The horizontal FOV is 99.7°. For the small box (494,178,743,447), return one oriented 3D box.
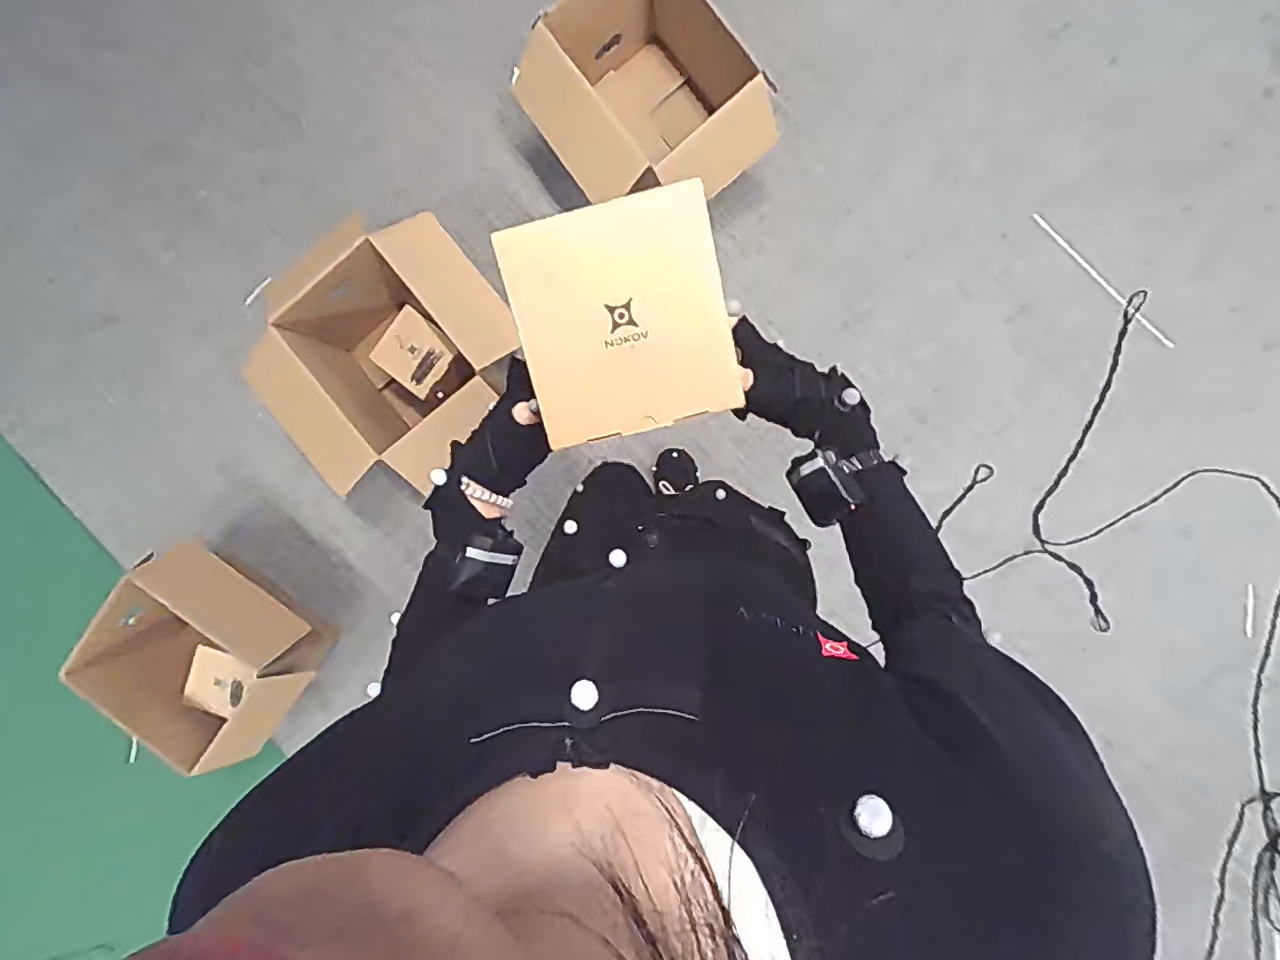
[{"bbox_3d":[-0.015,-0.144,0.502,0.168,0.176,0.179,-14,103,3],"label":"small box"}]
